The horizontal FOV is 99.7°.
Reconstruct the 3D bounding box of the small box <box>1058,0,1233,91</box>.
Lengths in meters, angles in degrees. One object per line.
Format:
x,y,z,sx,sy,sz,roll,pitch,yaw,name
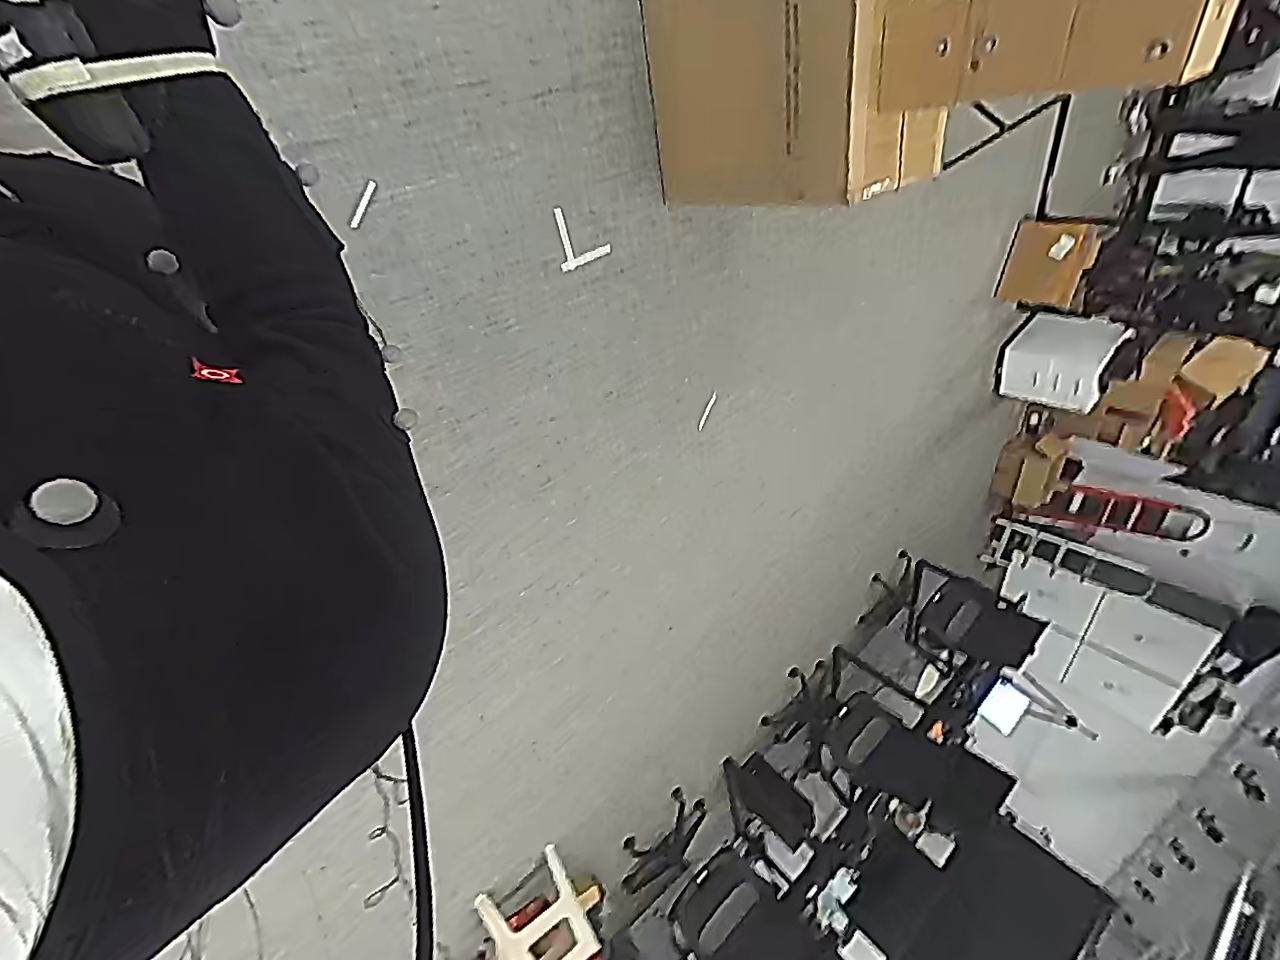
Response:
0.815,-0.745,0.871,0.168,0.176,0.179,-31,130,-27,small box

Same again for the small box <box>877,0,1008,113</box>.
0.602,-0.863,1.092,0.168,0.176,0.179,-31,130,-27,small box
